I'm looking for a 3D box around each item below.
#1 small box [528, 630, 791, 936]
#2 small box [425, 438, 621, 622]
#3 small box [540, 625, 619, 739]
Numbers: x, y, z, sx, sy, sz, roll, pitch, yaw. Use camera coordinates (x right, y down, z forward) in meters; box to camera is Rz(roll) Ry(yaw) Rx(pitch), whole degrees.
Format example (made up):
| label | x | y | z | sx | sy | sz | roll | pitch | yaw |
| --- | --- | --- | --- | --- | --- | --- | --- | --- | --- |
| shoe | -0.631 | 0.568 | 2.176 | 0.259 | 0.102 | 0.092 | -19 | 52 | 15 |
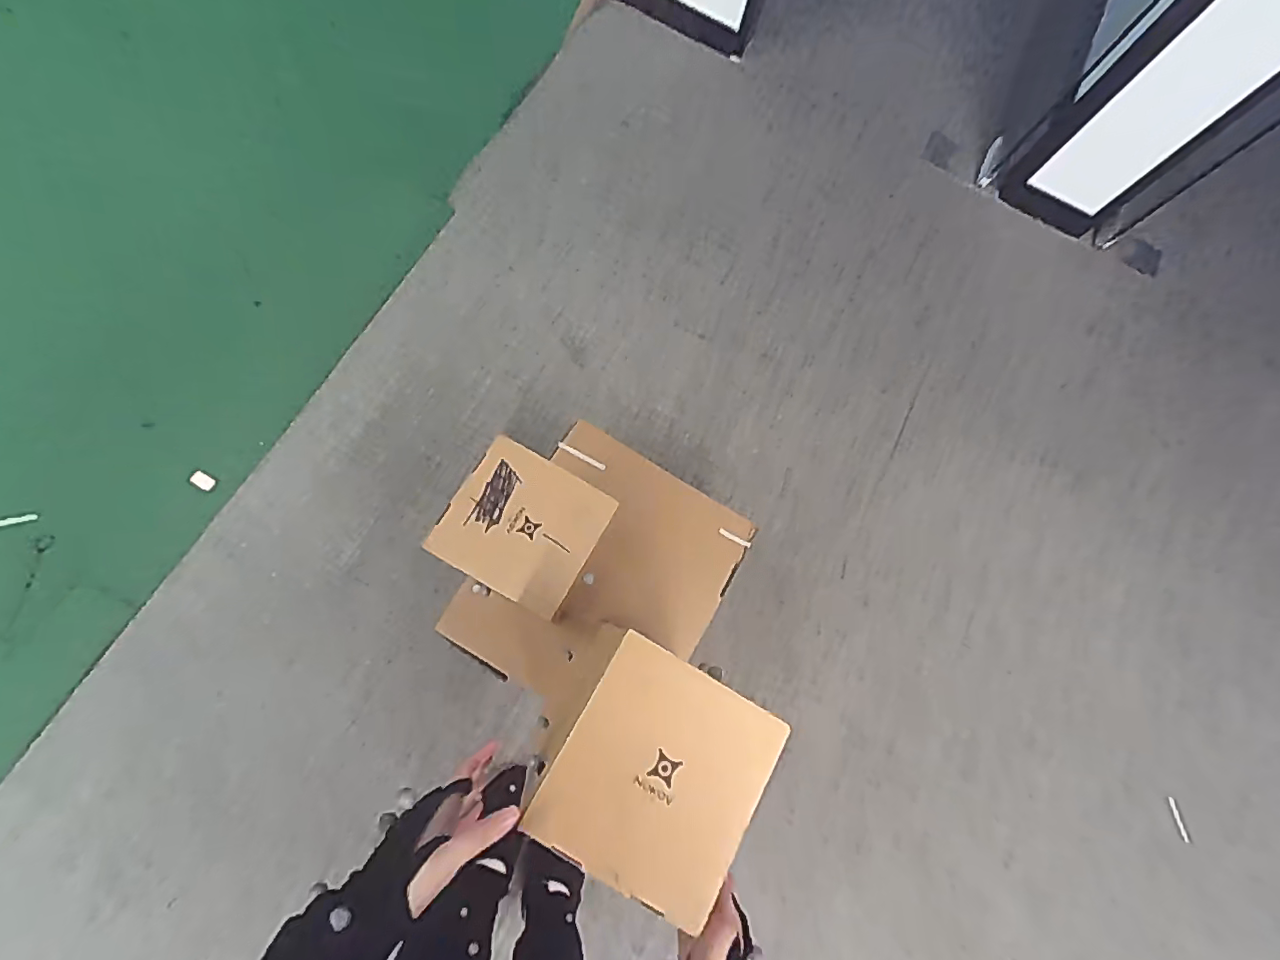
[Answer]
| label | x | y | z | sx | sy | sz | roll | pitch | yaw |
| --- | --- | --- | --- | --- | --- | --- | --- | --- | --- |
| small box | 0.010 | 0.261 | 0.518 | 0.168 | 0.176 | 0.179 | 30 | 73 | 1 |
| small box | -0.145 | 0.078 | 0.714 | 0.179 | 0.176 | 0.168 | 29 | 72 | 2 |
| small box | -0.036 | 0.335 | 0.832 | 0.179 | 0.176 | 0.168 | 29 | 72 | 0 |
